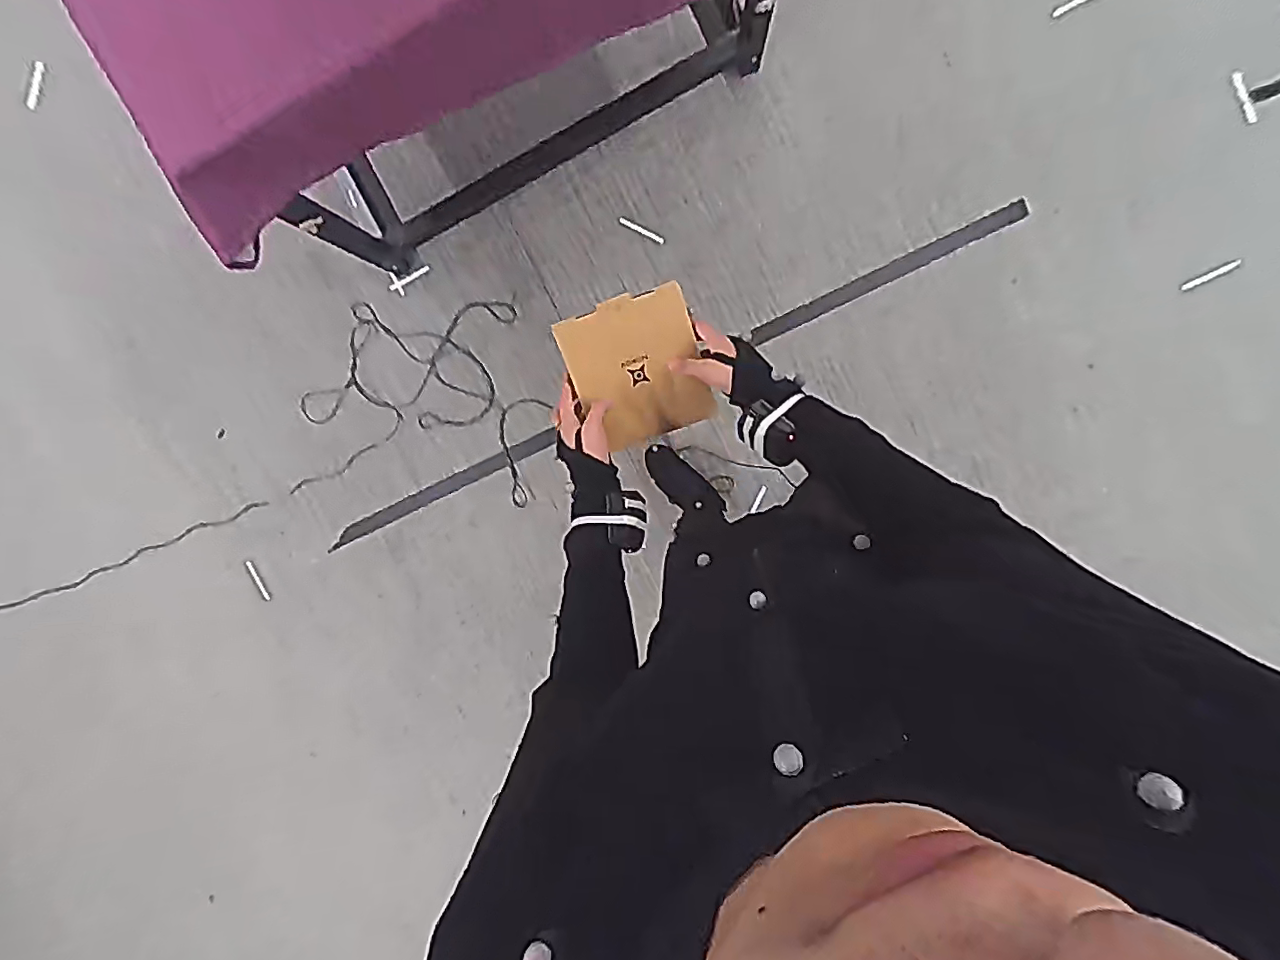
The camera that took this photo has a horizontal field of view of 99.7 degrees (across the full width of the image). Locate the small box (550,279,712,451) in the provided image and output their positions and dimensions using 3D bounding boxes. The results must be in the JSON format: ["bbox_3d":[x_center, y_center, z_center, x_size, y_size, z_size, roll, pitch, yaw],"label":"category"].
[{"bbox_3d":[-0.013,-0.160,0.754,0.168,0.176,0.179,-19,104,0],"label":"small box"}]
